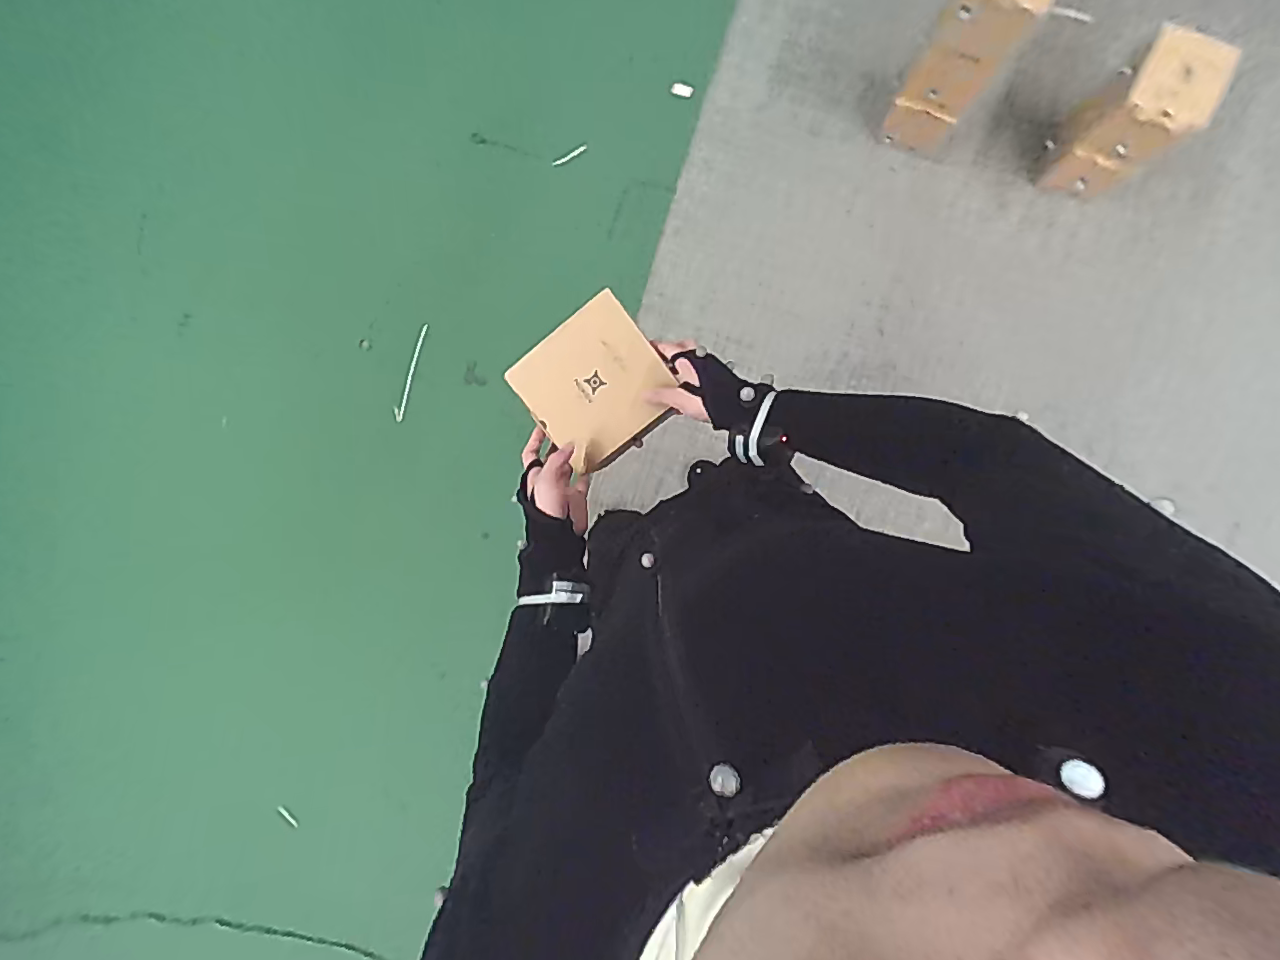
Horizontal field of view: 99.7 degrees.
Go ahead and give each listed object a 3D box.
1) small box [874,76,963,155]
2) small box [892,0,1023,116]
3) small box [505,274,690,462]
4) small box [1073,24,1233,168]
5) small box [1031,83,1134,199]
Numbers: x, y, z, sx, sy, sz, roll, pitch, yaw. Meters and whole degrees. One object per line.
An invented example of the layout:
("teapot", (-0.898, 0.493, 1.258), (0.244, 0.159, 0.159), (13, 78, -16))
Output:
("small box", (0.739, -0.998, 1.418), (0.168, 0.176, 0.179), (23, 95, 4))
("small box", (0.727, -1.007, 1.263), (0.168, 0.176, 0.179), (-36, 89, 9))
("small box", (-0.045, -0.142, 0.740), (0.179, 0.176, 0.168), (-35, 91, 10))
("small box", (1.136, -0.852, 1.216), (0.168, 0.176, 0.179), (25, 96, 5))
("small box", (1.150, -0.853, 1.381), (0.168, 0.176, 0.179), (20, 96, 5))
